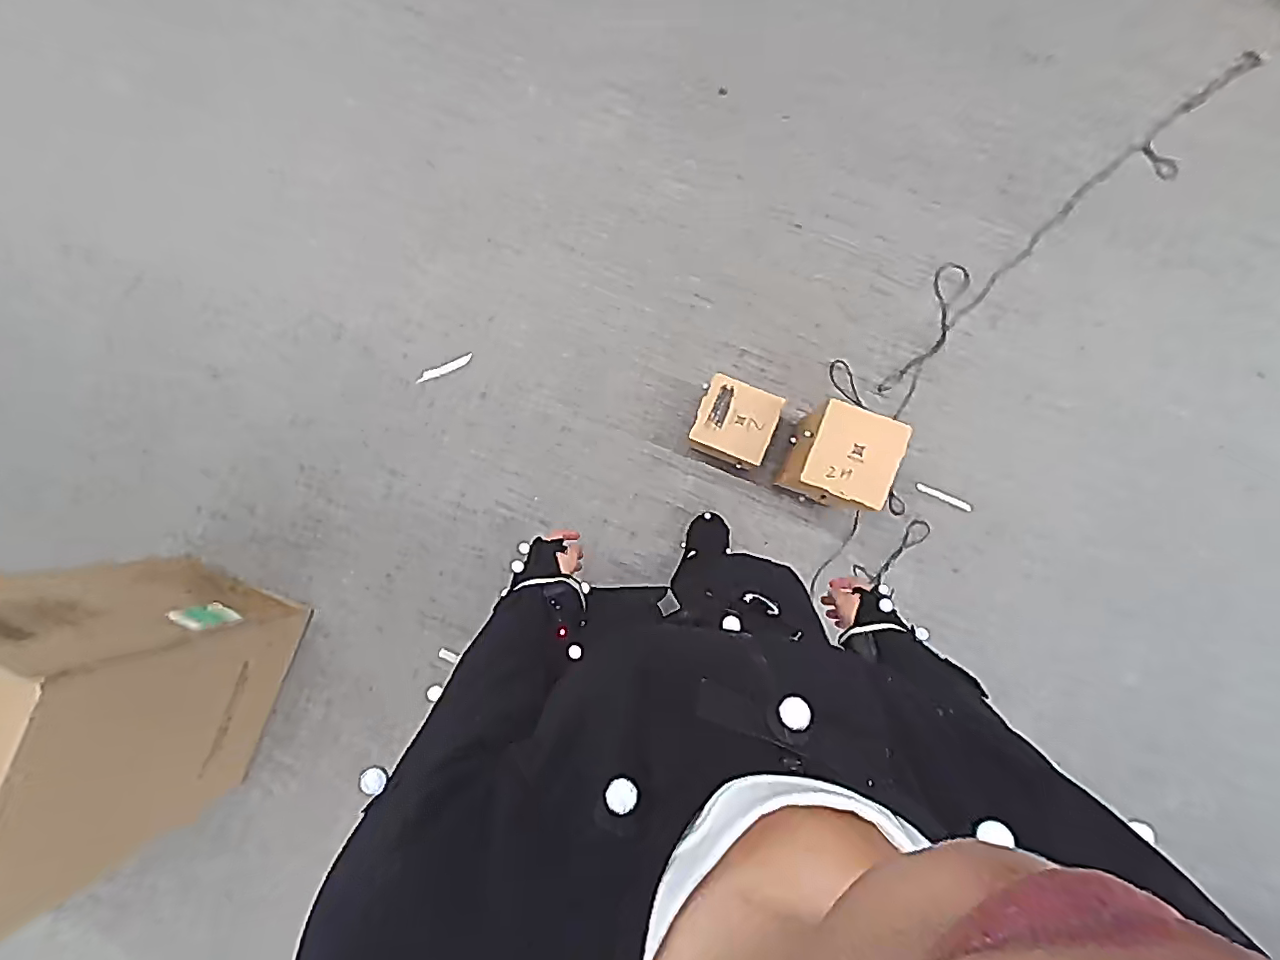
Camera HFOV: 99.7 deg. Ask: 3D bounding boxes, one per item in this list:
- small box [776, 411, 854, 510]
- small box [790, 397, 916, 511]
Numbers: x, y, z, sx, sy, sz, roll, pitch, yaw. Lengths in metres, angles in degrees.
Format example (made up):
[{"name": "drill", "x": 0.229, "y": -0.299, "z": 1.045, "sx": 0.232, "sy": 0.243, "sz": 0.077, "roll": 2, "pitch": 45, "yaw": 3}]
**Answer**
[{"name": "small box", "x": 0.437, "y": -0.041, "z": 1.274, "sx": 0.168, "sy": 0.176, "sz": 0.179, "roll": 23, "pitch": 90, "yaw": 5}, {"name": "small box", "x": 0.424, "y": -0.048, "z": 1.109, "sx": 0.168, "sy": 0.176, "sz": 0.179, "roll": 22, "pitch": 90, "yaw": 6}]
